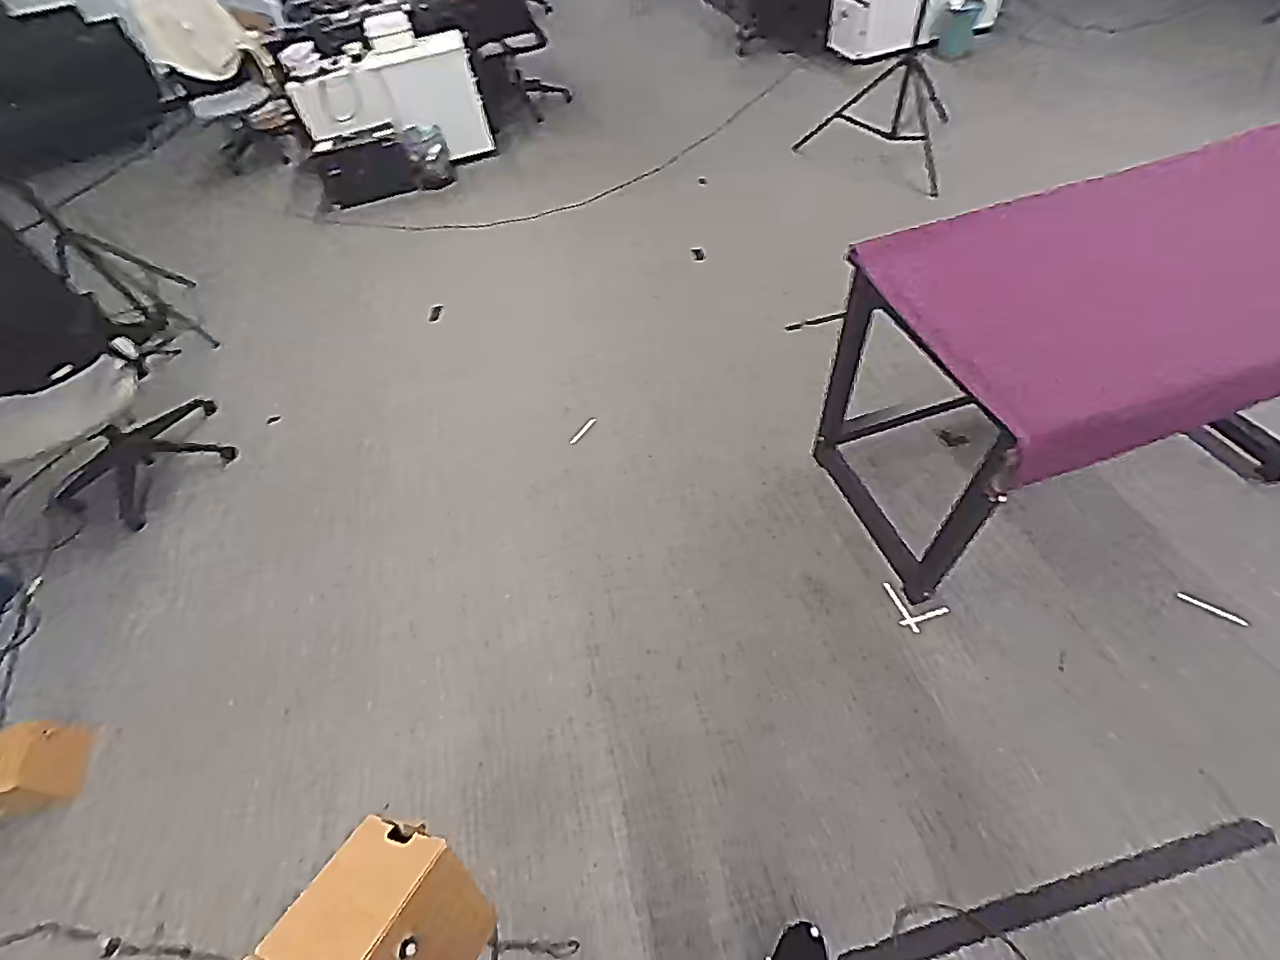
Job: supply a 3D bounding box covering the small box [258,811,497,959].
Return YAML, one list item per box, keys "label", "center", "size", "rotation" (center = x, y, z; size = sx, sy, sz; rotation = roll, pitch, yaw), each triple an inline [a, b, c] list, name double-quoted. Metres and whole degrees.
- label: "small box"
  center: [-0.311, 0.563, 0.673]
  size: [0.168, 0.176, 0.179]
  rotation: [-7, 23, 31]
